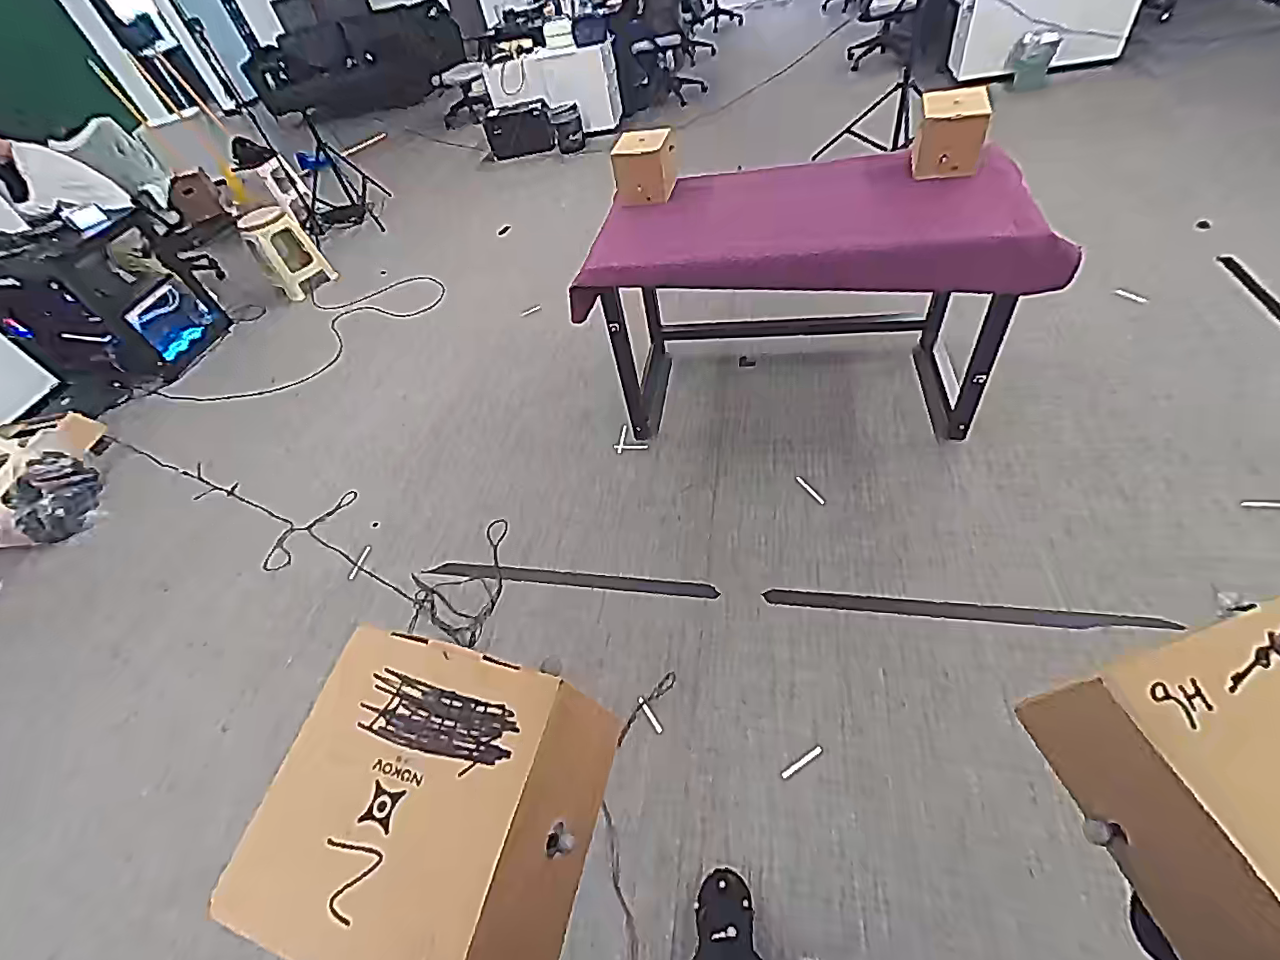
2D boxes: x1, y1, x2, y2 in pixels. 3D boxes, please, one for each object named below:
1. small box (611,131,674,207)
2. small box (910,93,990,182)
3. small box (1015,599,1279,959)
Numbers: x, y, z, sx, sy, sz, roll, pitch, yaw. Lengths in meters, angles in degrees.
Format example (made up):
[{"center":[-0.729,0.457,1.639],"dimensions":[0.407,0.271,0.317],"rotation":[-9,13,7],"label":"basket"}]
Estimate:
[{"center":[0.017,-1.044,1.819],"dimensions":[0.168,0.176,0.179],"rotation":[5,53,16],"label":"small box"},{"center":[0.904,-1.006,1.594],"dimensions":[0.168,0.176,0.179],"rotation":[5,55,17],"label":"small box"},{"center":[0.384,0.184,0.331],"dimensions":[0.168,0.176,0.179],"rotation":[-24,59,3],"label":"small box"}]
